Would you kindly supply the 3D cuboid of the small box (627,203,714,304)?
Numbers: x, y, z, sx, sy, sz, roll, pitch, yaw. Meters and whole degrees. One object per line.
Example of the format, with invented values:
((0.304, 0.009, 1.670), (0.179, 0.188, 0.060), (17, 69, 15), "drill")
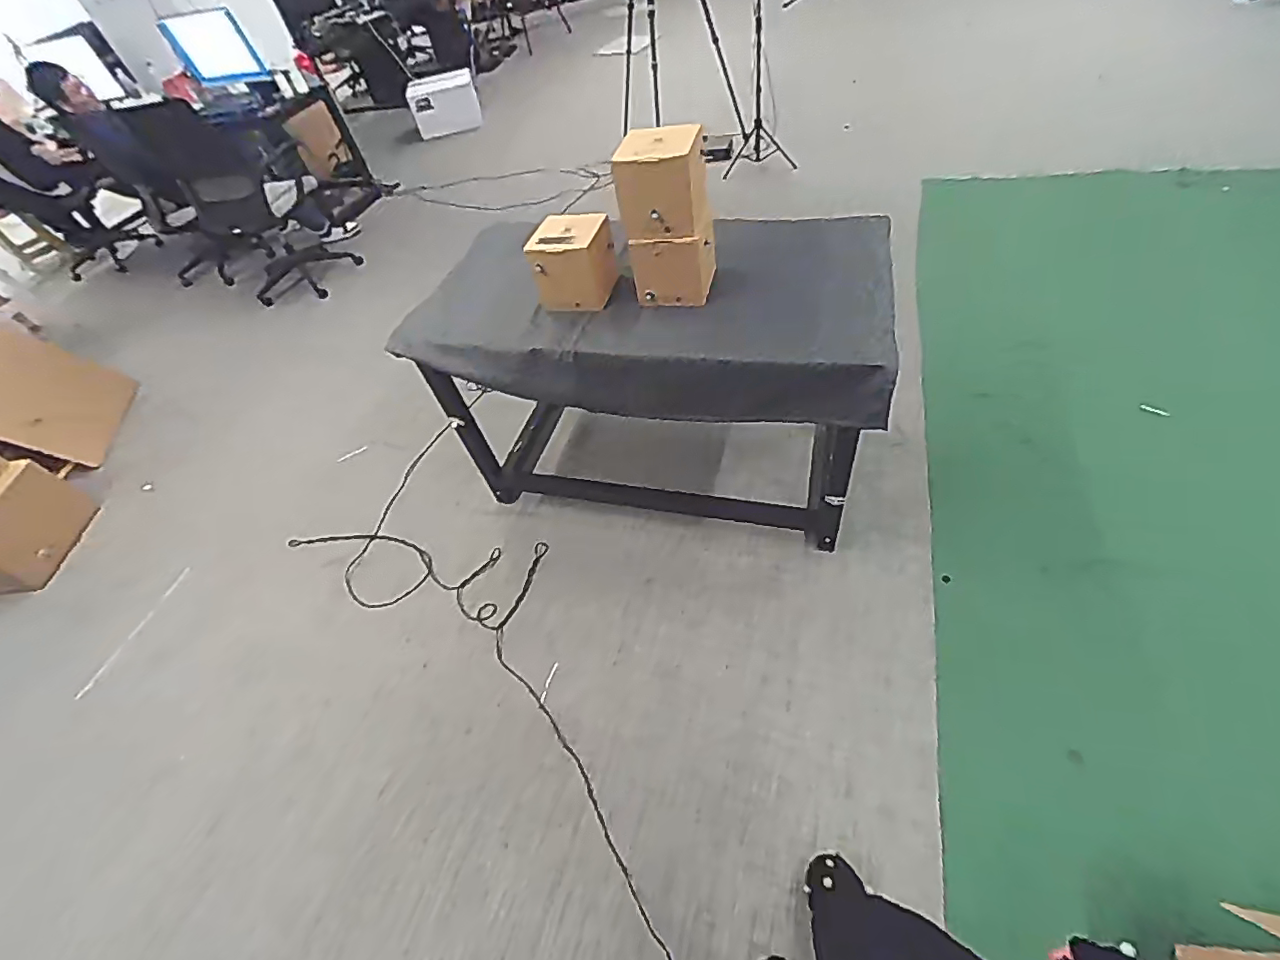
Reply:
((0.083, -0.544, 1.312), (0.168, 0.176, 0.179), (6, 52, 16), "small box")

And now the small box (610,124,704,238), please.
((0.047, -0.659, 1.200), (0.168, 0.176, 0.179), (4, 53, 16), "small box")
